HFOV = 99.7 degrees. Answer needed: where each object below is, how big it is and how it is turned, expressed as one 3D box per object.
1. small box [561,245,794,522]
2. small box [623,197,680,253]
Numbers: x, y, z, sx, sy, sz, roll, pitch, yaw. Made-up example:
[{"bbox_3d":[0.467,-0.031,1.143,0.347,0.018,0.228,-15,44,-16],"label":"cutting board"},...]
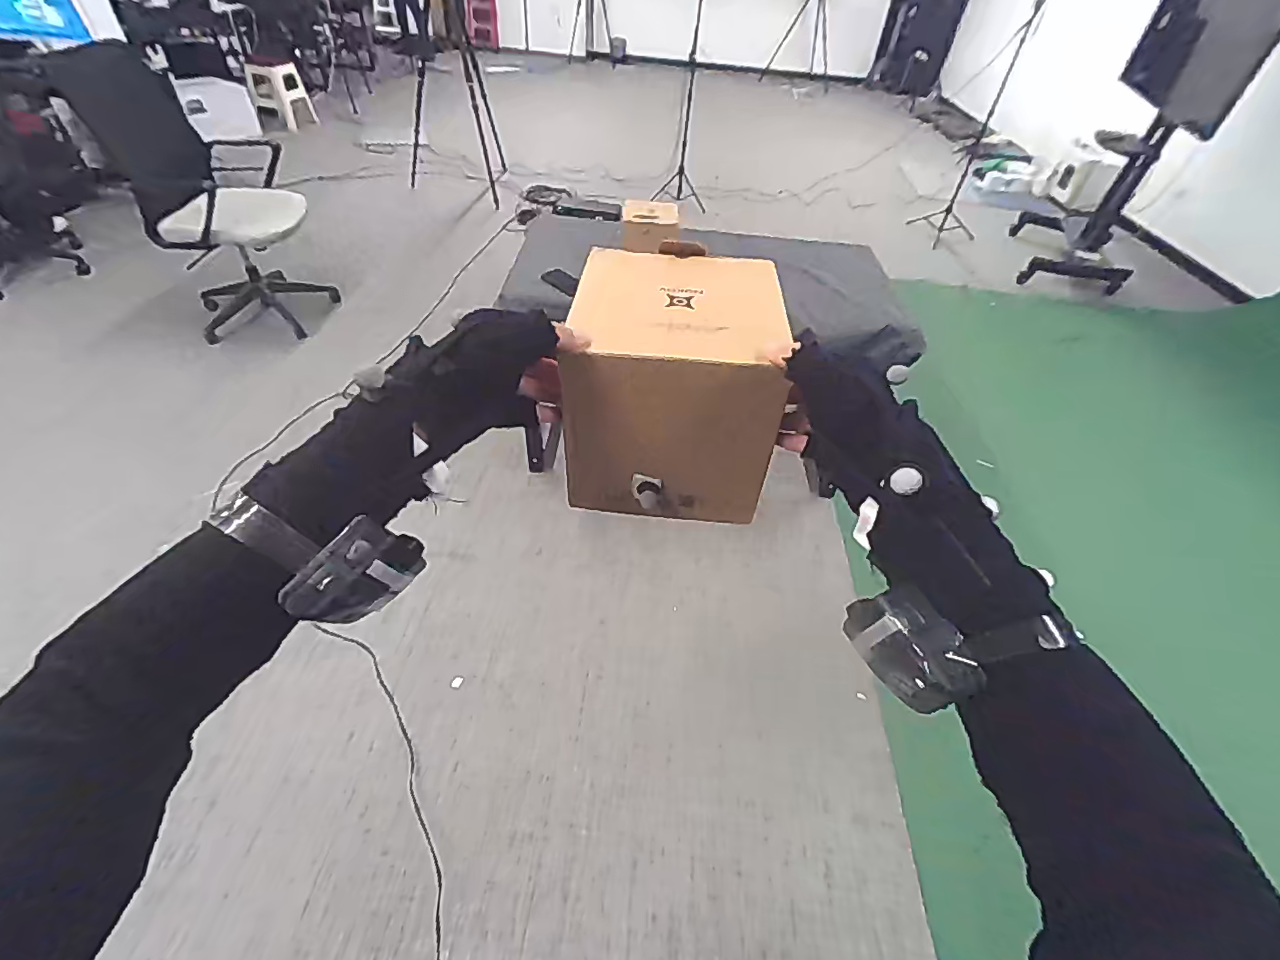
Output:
[{"bbox_3d":[0.028,-0.087,0.486,0.168,0.176,0.179,5,46,1],"label":"small box"},{"bbox_3d":[0.033,-0.752,1.669,0.168,0.176,0.179,4,45,-2],"label":"small box"}]
